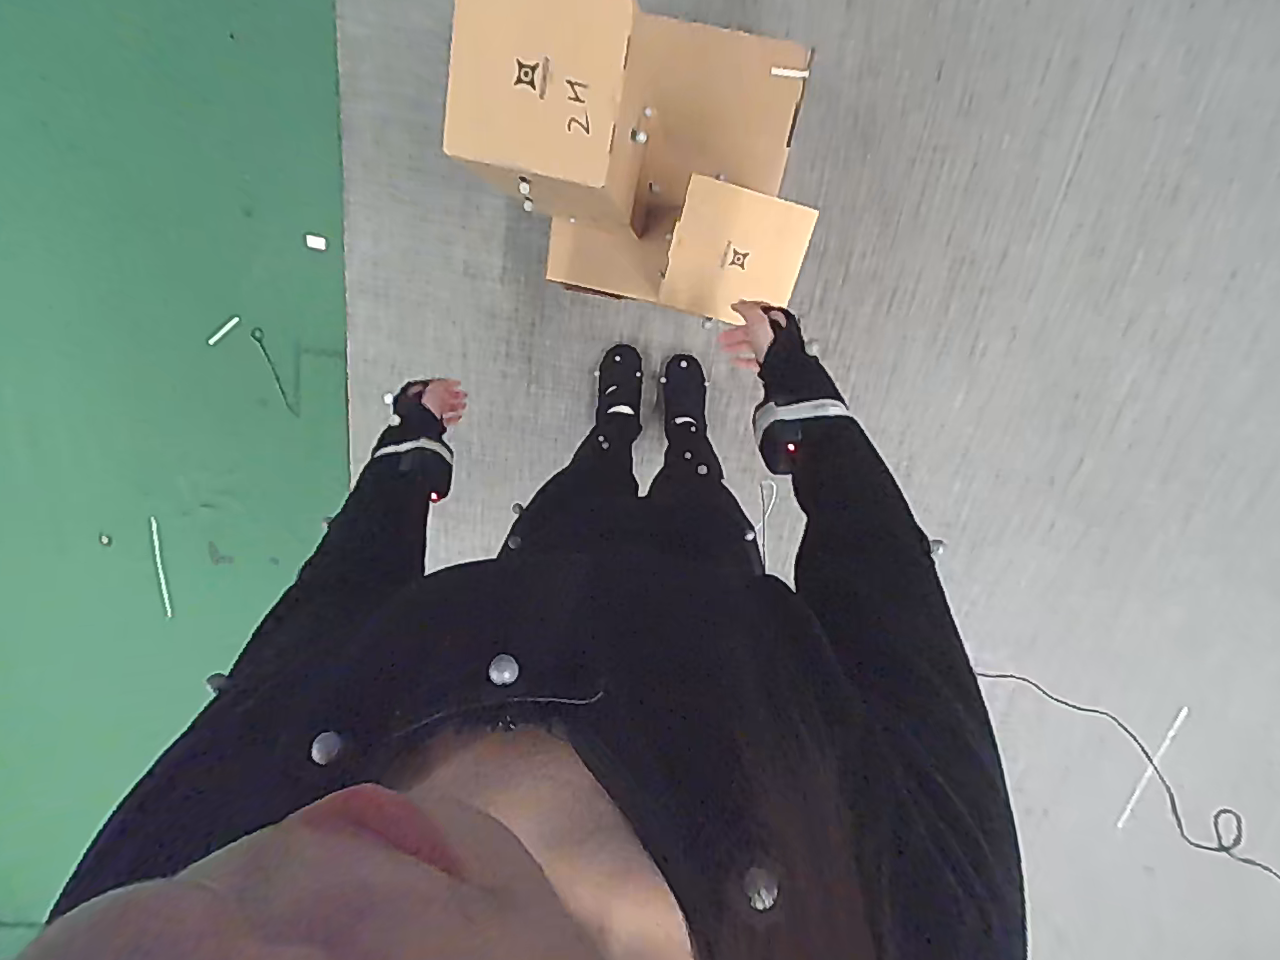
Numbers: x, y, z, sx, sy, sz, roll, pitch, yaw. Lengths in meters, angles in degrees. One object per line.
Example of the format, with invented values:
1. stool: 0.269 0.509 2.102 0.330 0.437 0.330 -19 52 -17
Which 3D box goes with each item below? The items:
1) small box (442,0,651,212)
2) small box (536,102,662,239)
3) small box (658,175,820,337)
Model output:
1. small box: -0.094 -0.414 0.602 0.179 0.176 0.168 14 108 1
2. small box: -0.062 -0.526 0.911 0.168 0.176 0.179 15 107 1
3. small box: 0.133 -0.319 0.791 0.179 0.176 0.168 16 109 -1
